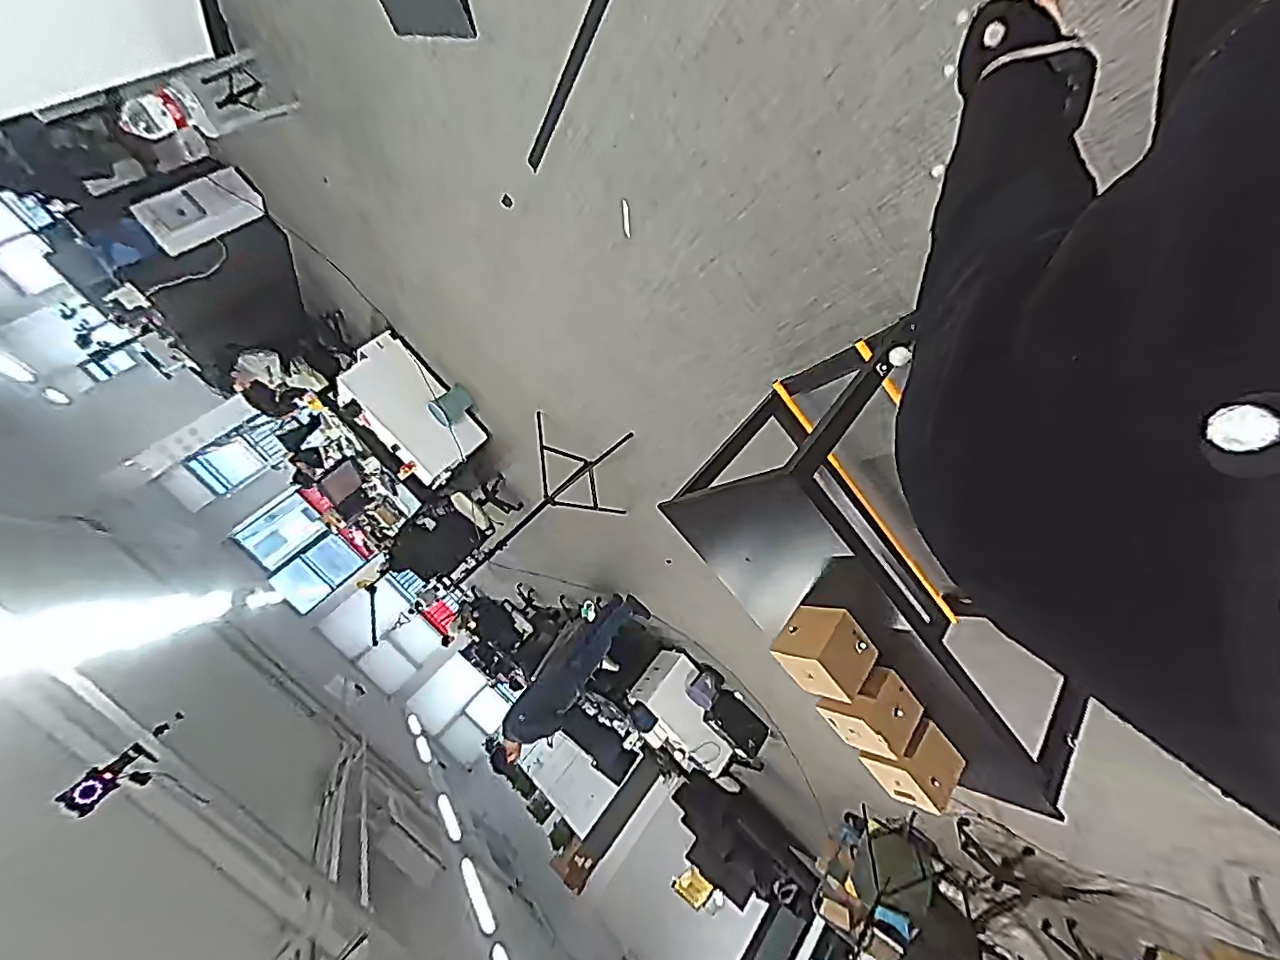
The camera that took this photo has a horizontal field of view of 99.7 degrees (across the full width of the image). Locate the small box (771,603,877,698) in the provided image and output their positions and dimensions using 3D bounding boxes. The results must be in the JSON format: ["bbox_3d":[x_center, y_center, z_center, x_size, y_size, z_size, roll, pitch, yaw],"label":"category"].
[{"bbox_3d":[0.493,0.445,1.444,0.168,0.176,0.179,49,153,-12],"label":"small box"}]

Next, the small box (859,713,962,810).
[{"bbox_3d":[0.769,0.778,1.529,0.179,0.176,0.168,50,153,-9],"label":"small box"}]

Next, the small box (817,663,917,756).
[{"bbox_3d":[0.633,0.616,1.490,0.168,0.176,0.179,50,153,-11],"label":"small box"}]
